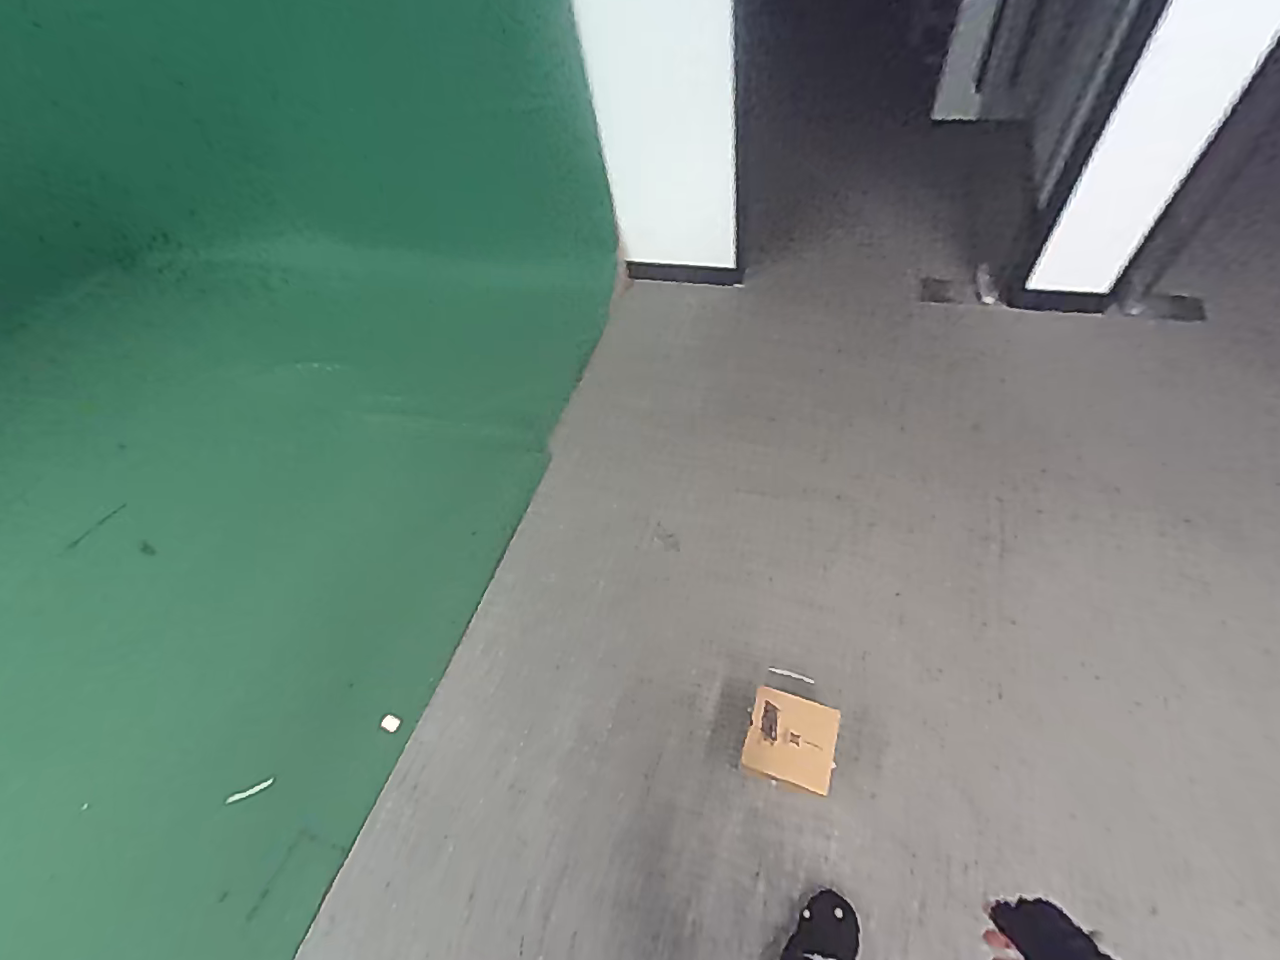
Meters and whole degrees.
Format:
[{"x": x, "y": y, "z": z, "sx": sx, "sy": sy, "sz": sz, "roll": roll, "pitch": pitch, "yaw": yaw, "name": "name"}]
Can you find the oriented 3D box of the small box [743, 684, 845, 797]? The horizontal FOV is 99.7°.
[{"x": 0.331, "y": 0.570, "z": 1.176, "sx": 0.179, "sy": 0.176, "sz": 0.168, "roll": 14, "pitch": 61, "yaw": 20, "name": "small box"}]
